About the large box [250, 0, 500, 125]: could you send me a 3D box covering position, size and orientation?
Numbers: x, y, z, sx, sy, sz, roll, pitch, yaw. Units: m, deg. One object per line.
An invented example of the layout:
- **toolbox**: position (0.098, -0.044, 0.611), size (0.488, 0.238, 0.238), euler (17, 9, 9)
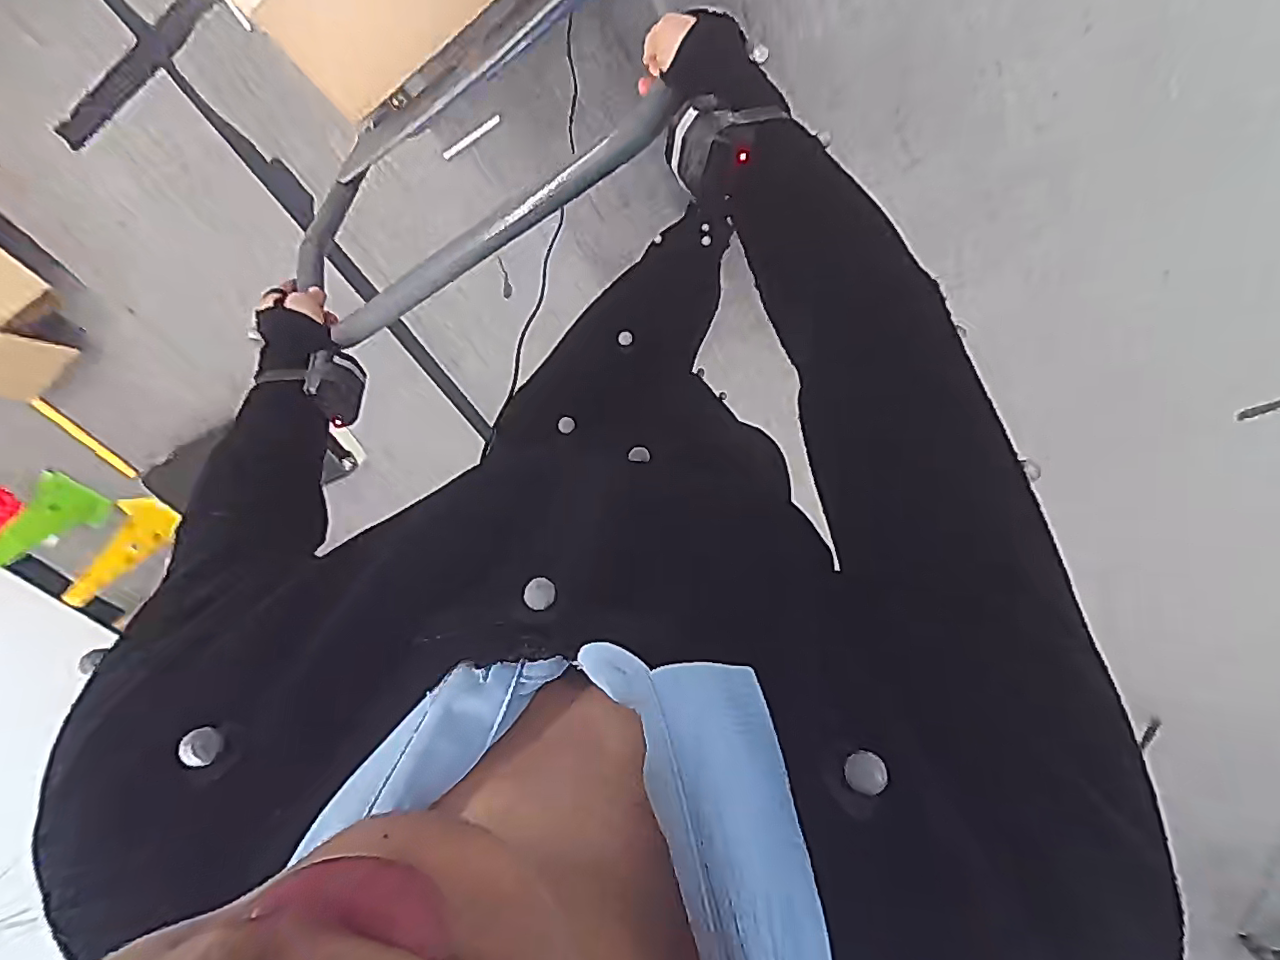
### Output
- **large box**: position (-0.309, -0.759, 0.678), size (0.408, 0.320, 0.320), euler (-24, 136, 21)
